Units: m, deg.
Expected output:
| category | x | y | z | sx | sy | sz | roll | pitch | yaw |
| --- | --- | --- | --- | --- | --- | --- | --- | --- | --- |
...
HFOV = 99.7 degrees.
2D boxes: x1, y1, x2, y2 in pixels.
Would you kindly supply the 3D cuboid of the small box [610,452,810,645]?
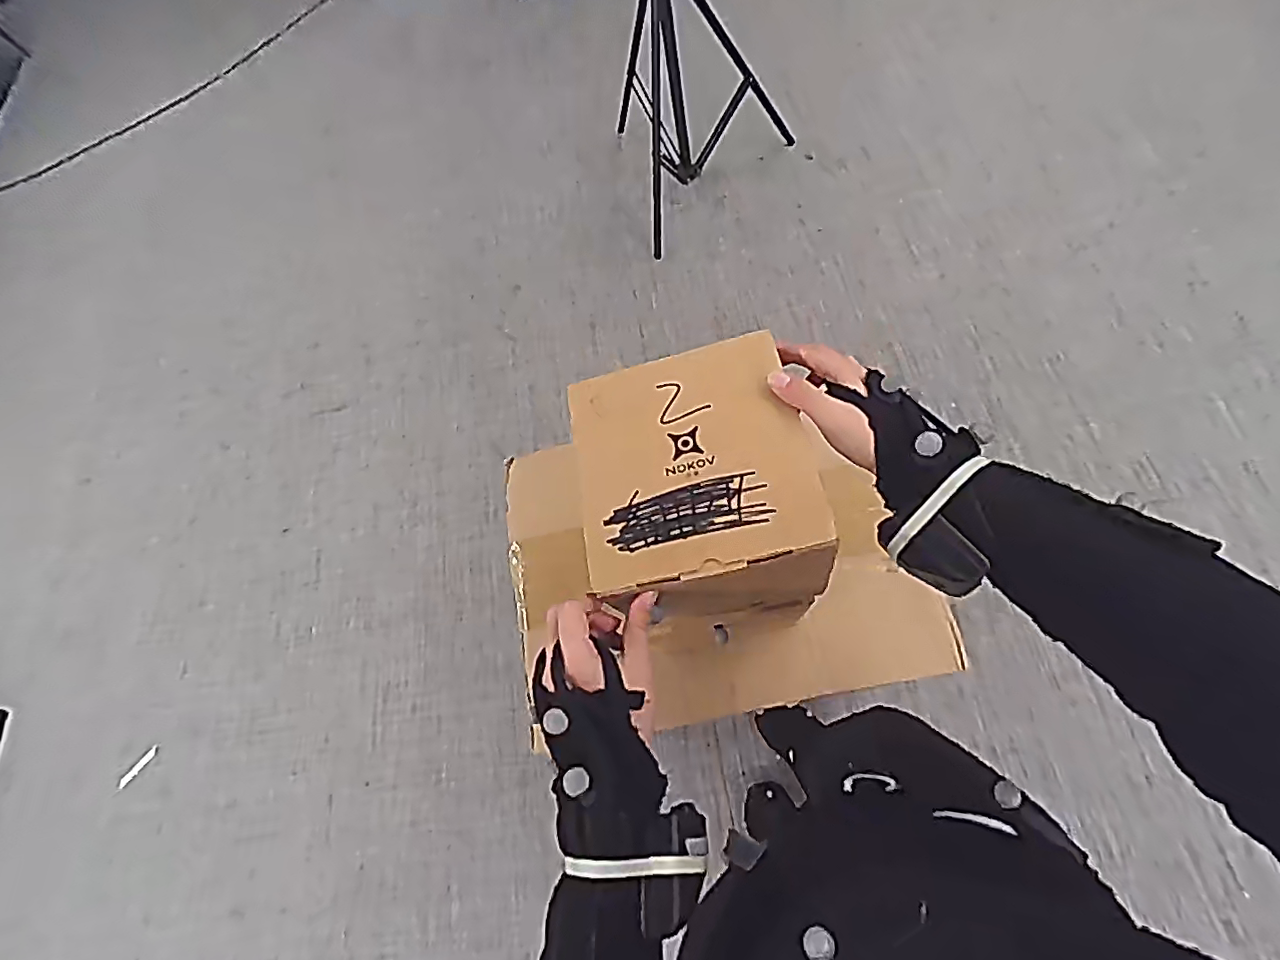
| category | x | y | z | sx | sy | sz | roll | pitch | yaw |
| --- | --- | --- | --- | --- | --- | --- | --- | --- | --- |
| small box | 0.078 | 0.088 | 0.619 | 0.179 | 0.176 | 0.168 | -14 | 68 | 7 |
